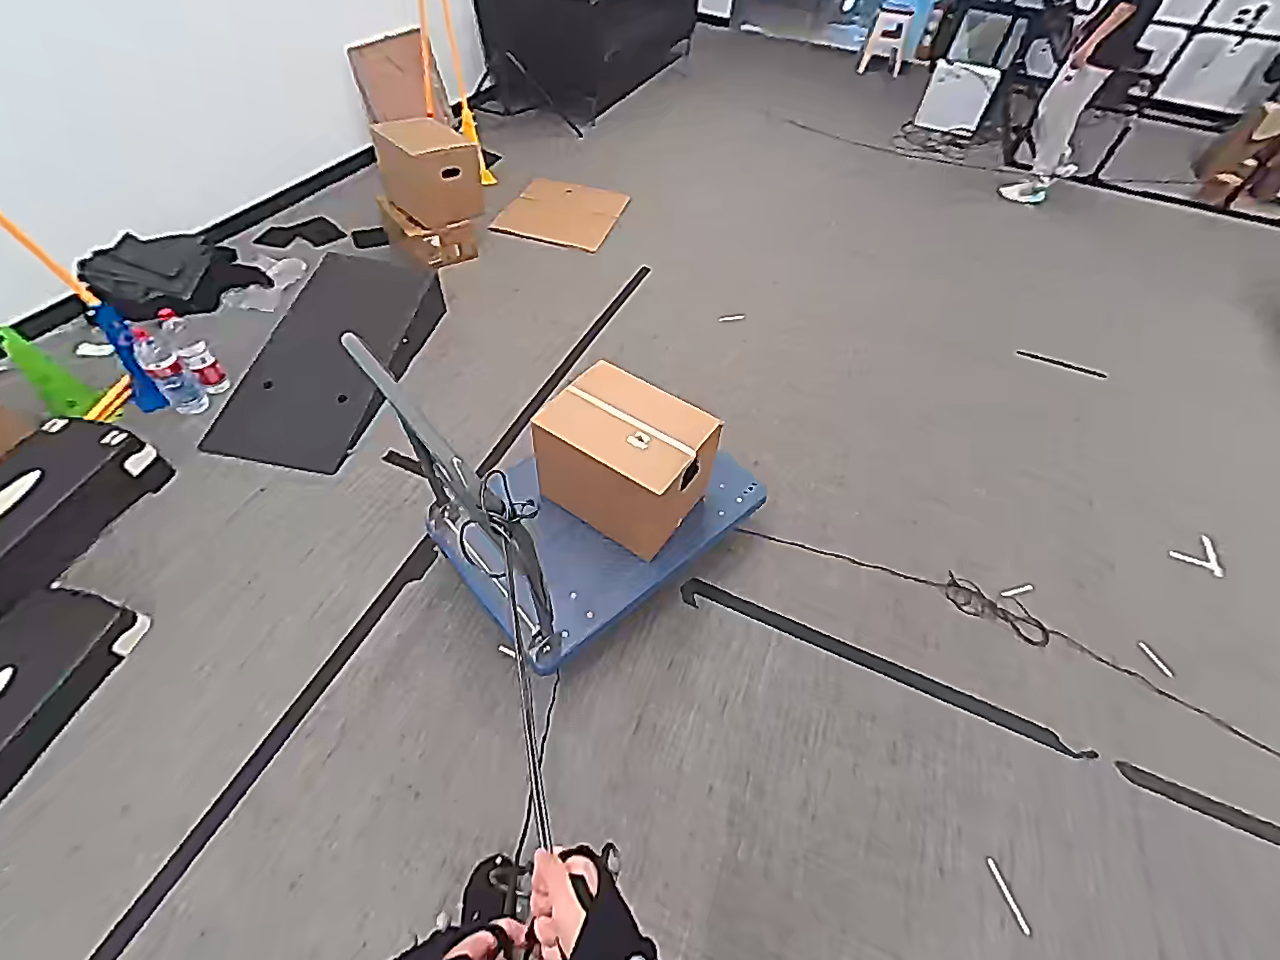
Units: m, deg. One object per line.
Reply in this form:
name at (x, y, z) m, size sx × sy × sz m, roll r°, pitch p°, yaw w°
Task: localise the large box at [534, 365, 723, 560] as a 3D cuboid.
large box at (-0.041, -0.051, 1.516) m, size 0.408 × 0.320 × 0.320 m, roll 30°, pitch 55°, yaw 17°
